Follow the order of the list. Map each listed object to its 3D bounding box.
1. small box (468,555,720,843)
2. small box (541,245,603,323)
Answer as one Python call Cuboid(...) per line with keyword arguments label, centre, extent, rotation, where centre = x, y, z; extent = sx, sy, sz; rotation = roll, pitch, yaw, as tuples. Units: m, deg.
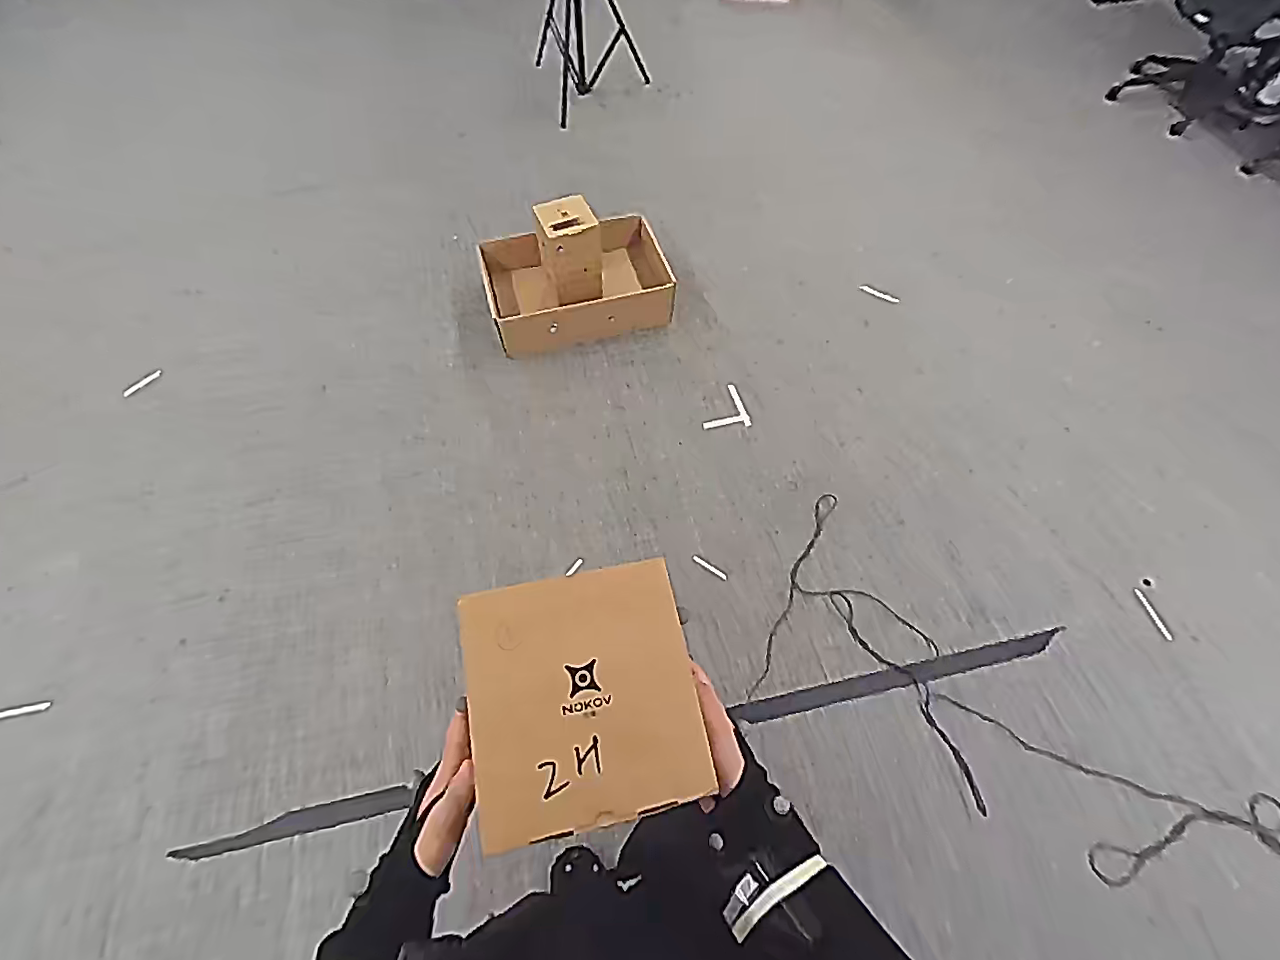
Cuboid(label="small box", centre=(-0.048, 0.183, 0.474), extent=(0.168, 0.176, 0.179), rotation=(-9, 68, -10))
Cuboid(label="small box", centre=(-0.237, -0.685, 1.895), extent=(0.168, 0.176, 0.179), rotation=(-20, 64, -11))
